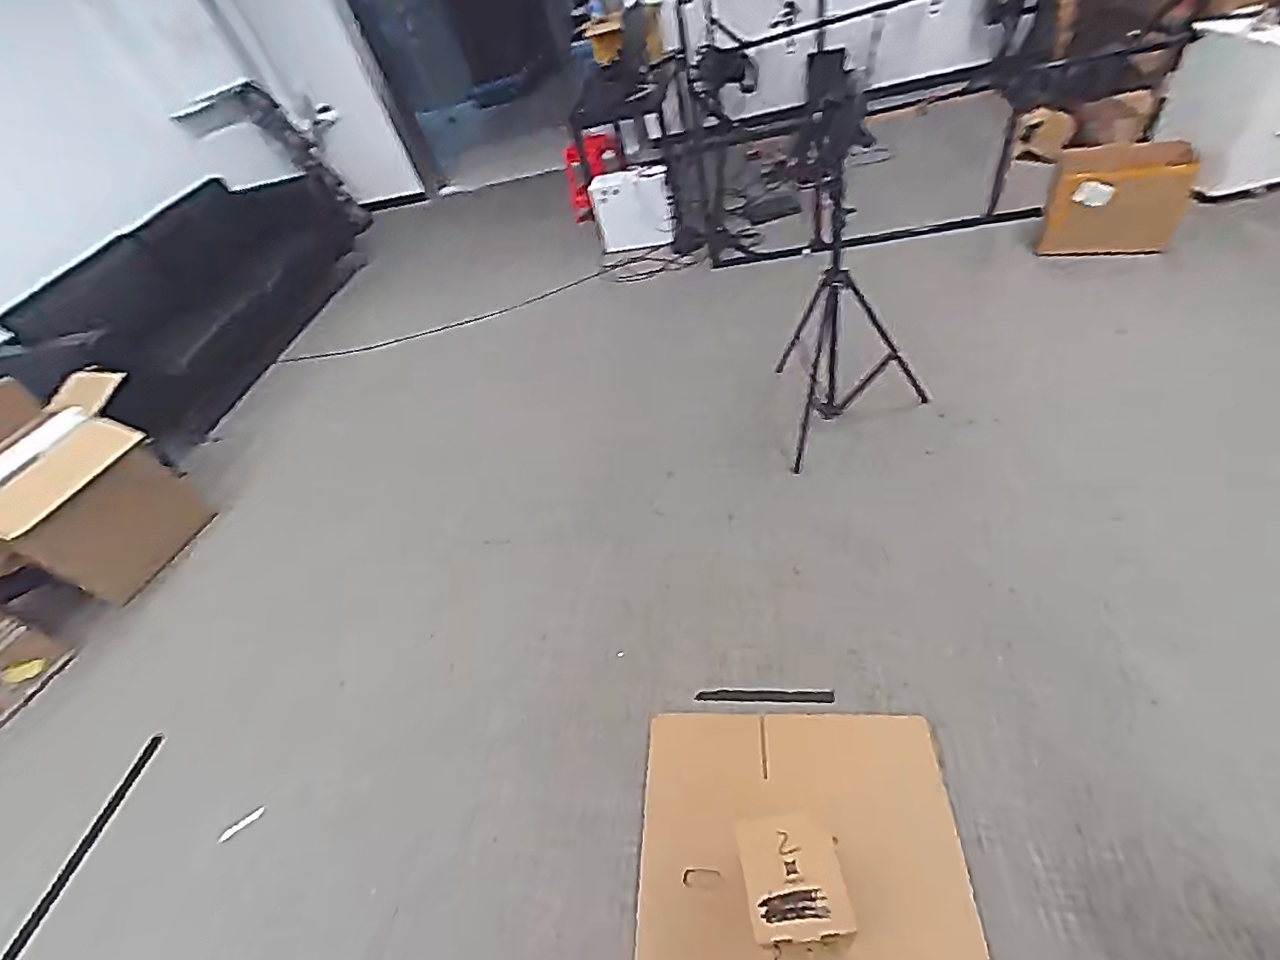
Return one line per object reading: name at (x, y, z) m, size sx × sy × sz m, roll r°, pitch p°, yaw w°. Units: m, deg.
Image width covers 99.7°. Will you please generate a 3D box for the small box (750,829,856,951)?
small box at (0.325, 0.832, 1.094) m, size 0.168 × 0.176 × 0.179 m, roll -12°, pitch 46°, yaw 10°
